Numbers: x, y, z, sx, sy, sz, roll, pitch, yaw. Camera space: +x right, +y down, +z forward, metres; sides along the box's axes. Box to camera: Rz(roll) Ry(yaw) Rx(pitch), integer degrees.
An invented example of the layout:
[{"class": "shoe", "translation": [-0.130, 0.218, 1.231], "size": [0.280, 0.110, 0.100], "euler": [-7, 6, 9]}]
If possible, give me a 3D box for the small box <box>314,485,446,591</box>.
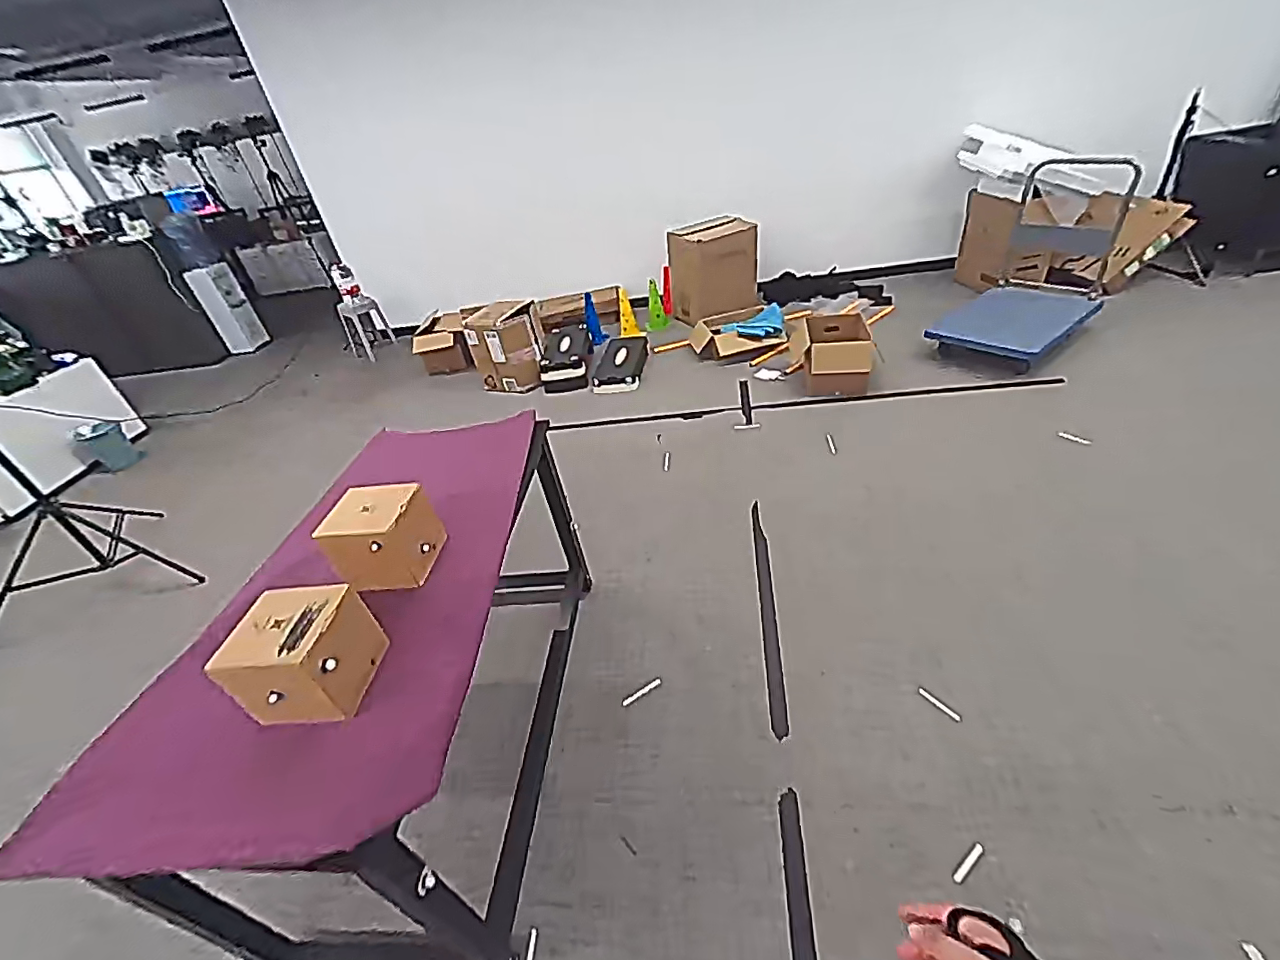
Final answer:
[{"class": "small box", "translation": [-0.566, 0.132, 1.202], "size": [0.179, 0.176, 0.168], "euler": [-5, 36, 8]}]
